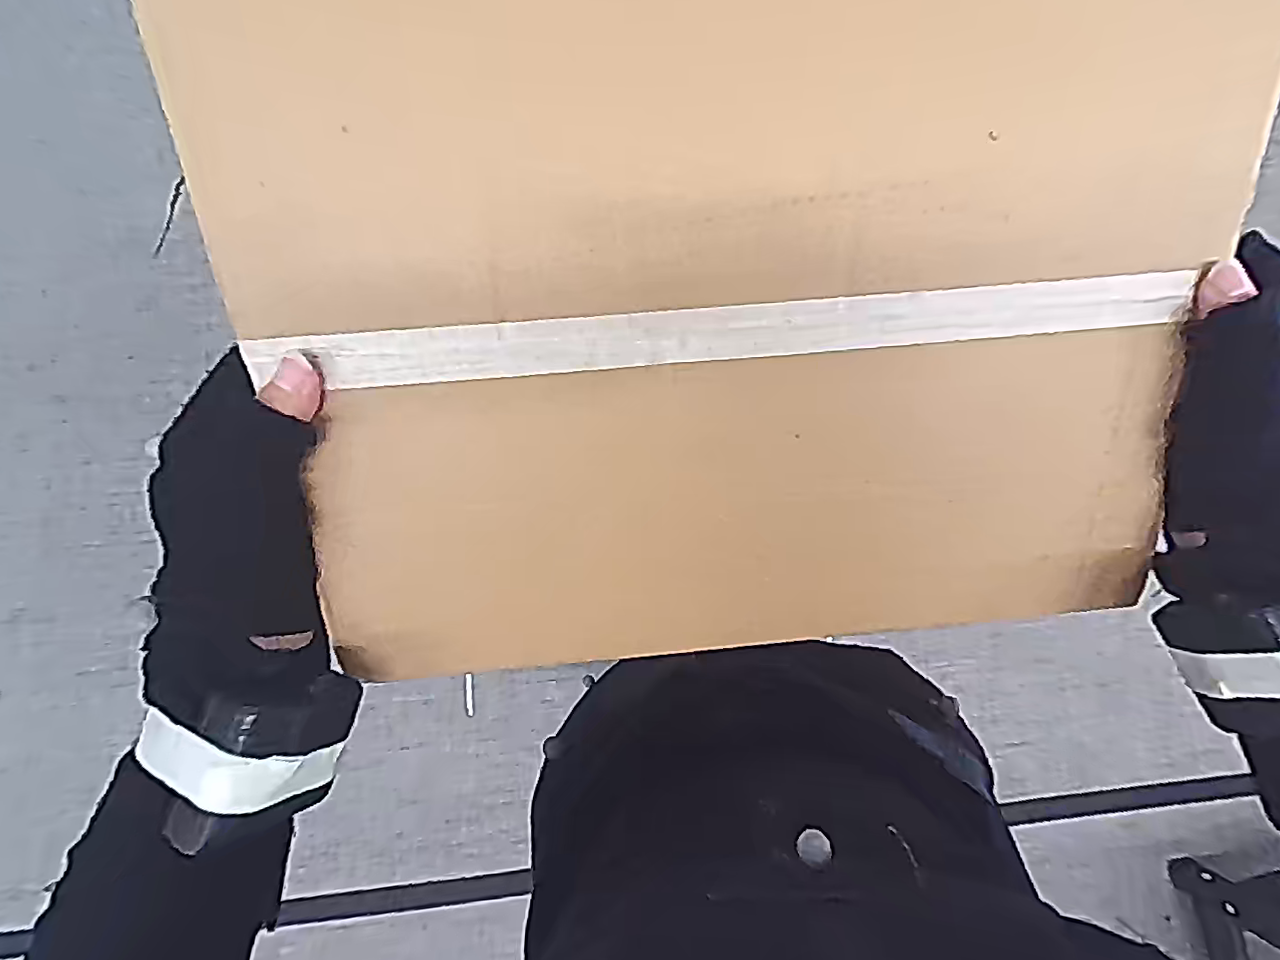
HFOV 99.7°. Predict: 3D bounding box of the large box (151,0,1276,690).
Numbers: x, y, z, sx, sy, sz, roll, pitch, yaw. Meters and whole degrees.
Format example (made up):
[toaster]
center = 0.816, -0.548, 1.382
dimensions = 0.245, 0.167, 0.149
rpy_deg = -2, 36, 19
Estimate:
[large box]
center = 0.037, -0.106, 0.373
dimensions = 0.408, 0.320, 0.320
rpy_deg = -5, 110, -3
